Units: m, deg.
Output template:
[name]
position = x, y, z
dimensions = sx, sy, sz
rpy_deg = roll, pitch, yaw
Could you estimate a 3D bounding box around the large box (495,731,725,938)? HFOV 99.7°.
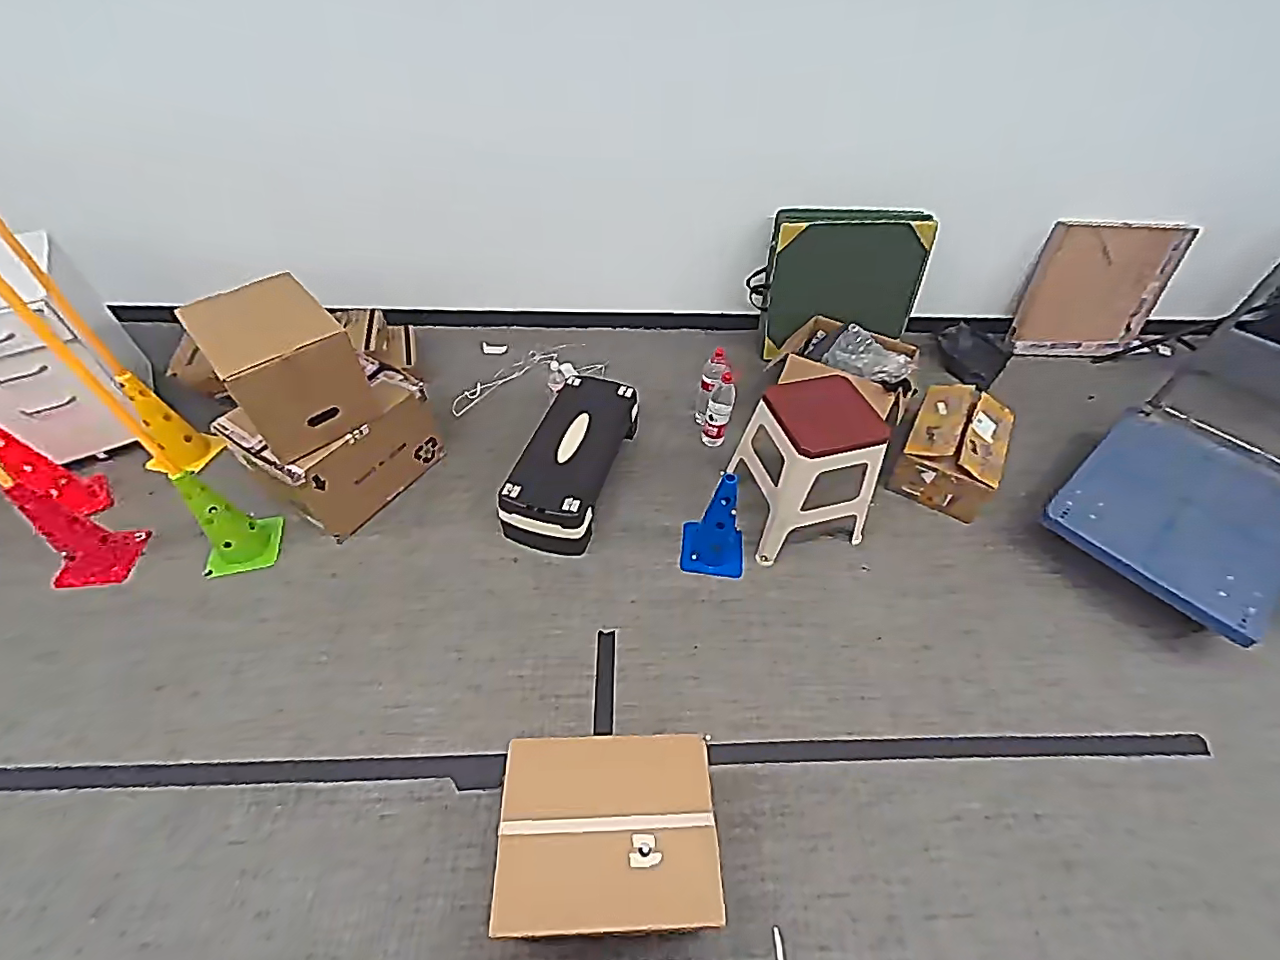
[large box]
position = -0.066, 0.742, 1.132
dimensions = 0.408, 0.320, 0.320
rpy_deg = 1, 50, -4
